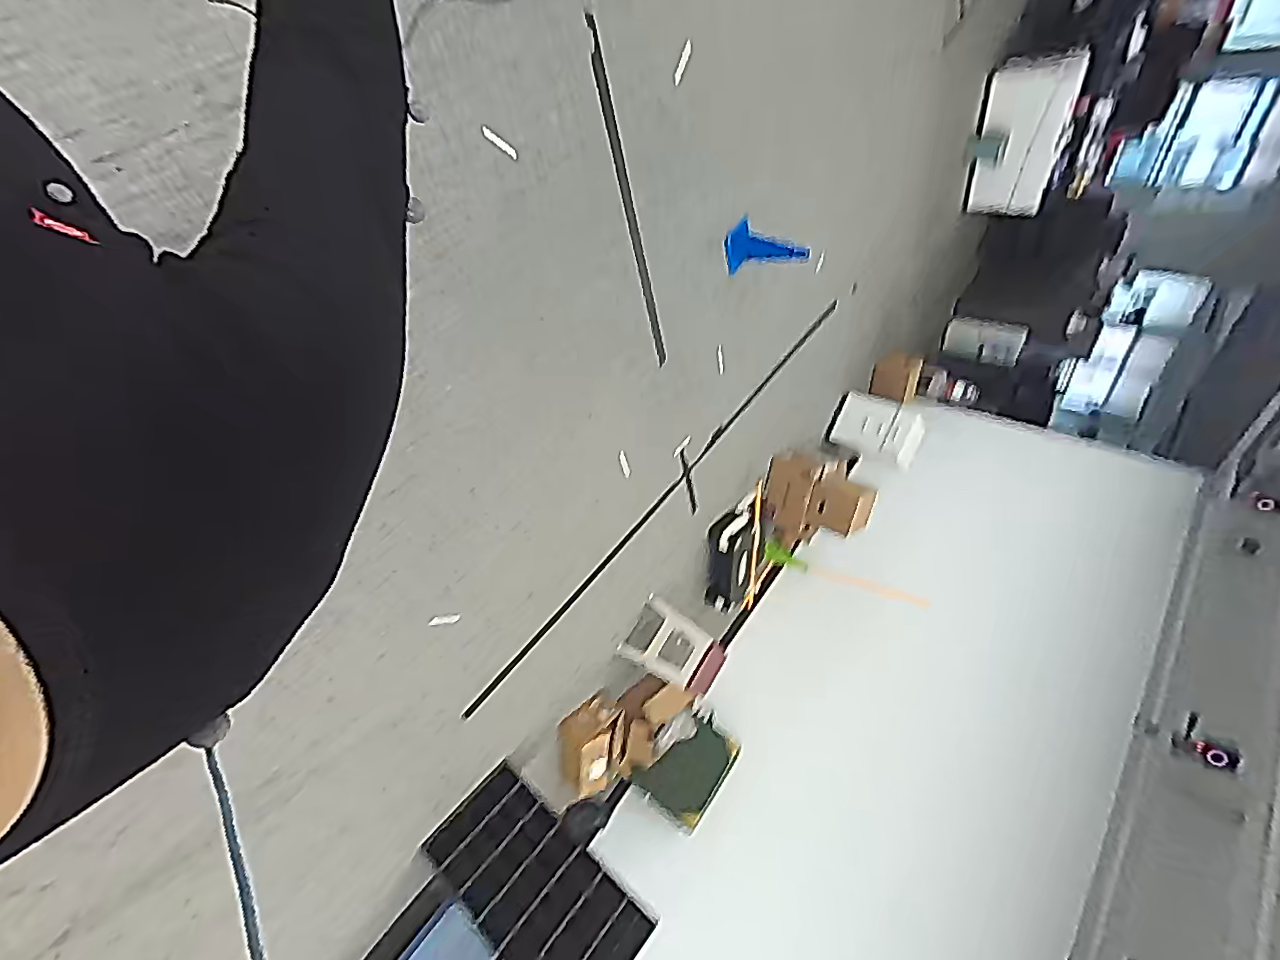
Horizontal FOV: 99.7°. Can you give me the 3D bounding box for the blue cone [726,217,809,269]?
[{"bbox_3d":[0.590,-1.060,2.451,0.192,0.380,0.193,-50,143,-21],"label":"blue cone"}]
